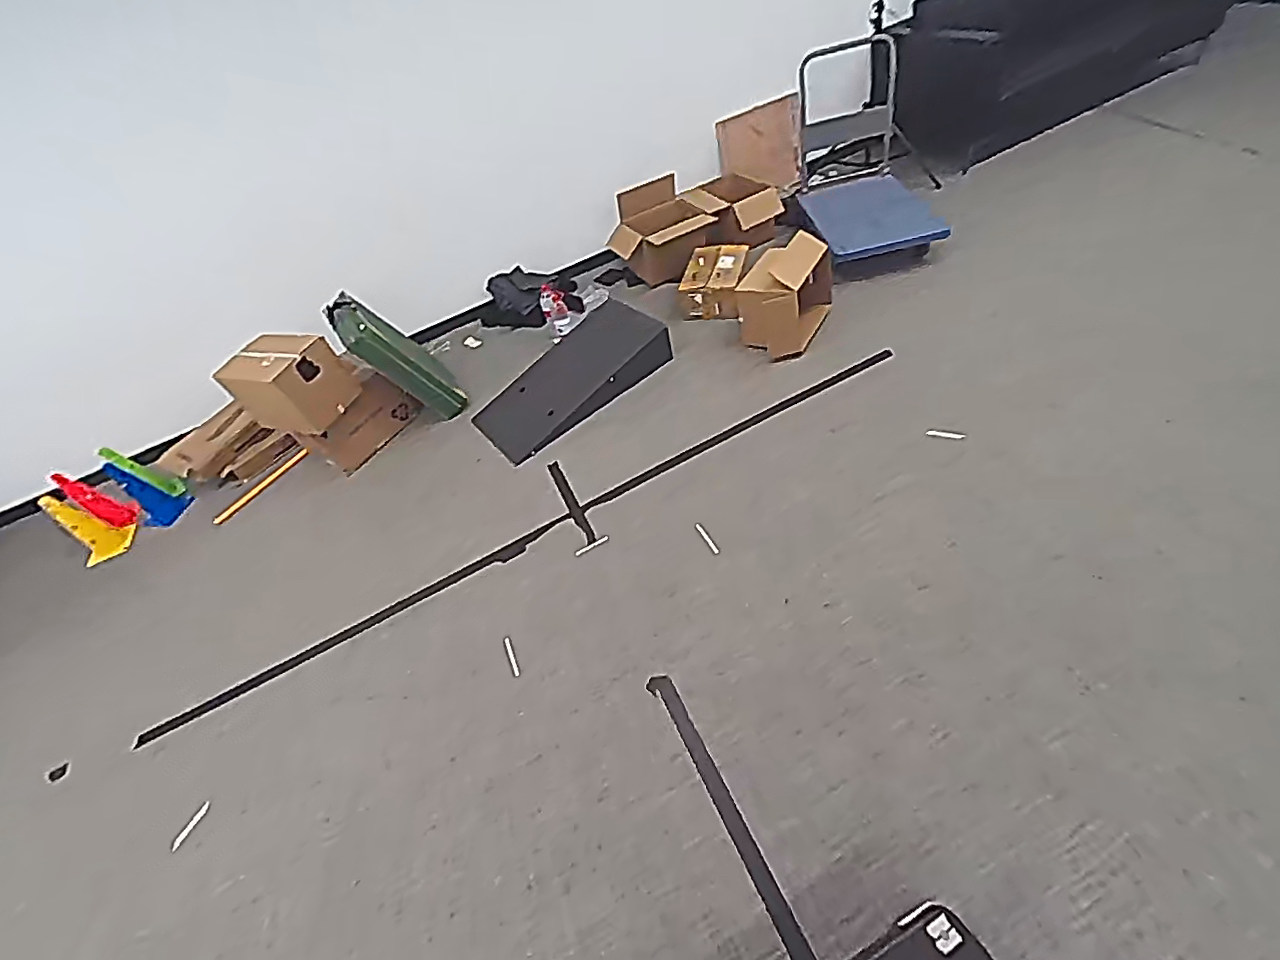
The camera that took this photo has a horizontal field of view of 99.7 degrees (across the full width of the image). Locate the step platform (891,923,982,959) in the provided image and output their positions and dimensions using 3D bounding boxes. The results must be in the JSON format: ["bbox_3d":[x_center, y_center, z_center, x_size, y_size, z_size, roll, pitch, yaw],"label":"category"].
[{"bbox_3d":[0.409,1.151,0.984,0.684,0.204,0.286,-27,47,-10],"label":"step platform"}]
